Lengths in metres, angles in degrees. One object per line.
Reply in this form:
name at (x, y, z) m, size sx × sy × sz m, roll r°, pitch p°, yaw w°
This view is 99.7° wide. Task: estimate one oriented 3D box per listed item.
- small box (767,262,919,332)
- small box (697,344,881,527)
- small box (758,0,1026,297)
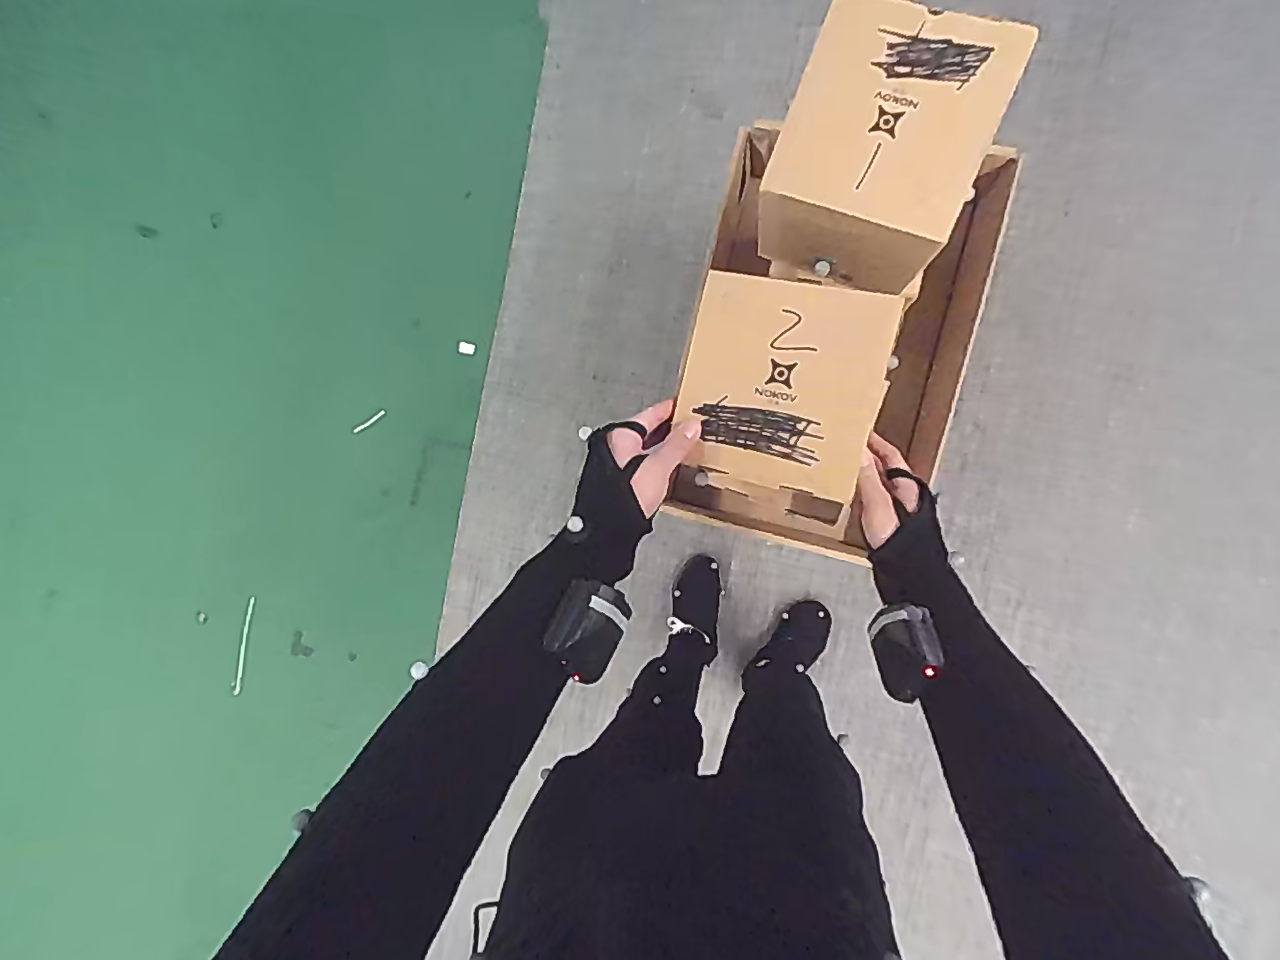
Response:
small box at (0.261, -0.307, 0.693) m, size 0.168 × 0.176 × 0.179 m, roll 13°, pitch 94°, yaw 11°
small box at (0.187, -0.054, 0.705) m, size 0.168 × 0.176 × 0.179 m, roll 20°, pitch 95°, yaw 11°
small box at (0.222, -0.308, 0.534) m, size 0.168 × 0.176 × 0.179 m, roll 23°, pitch 97°, yaw 11°
